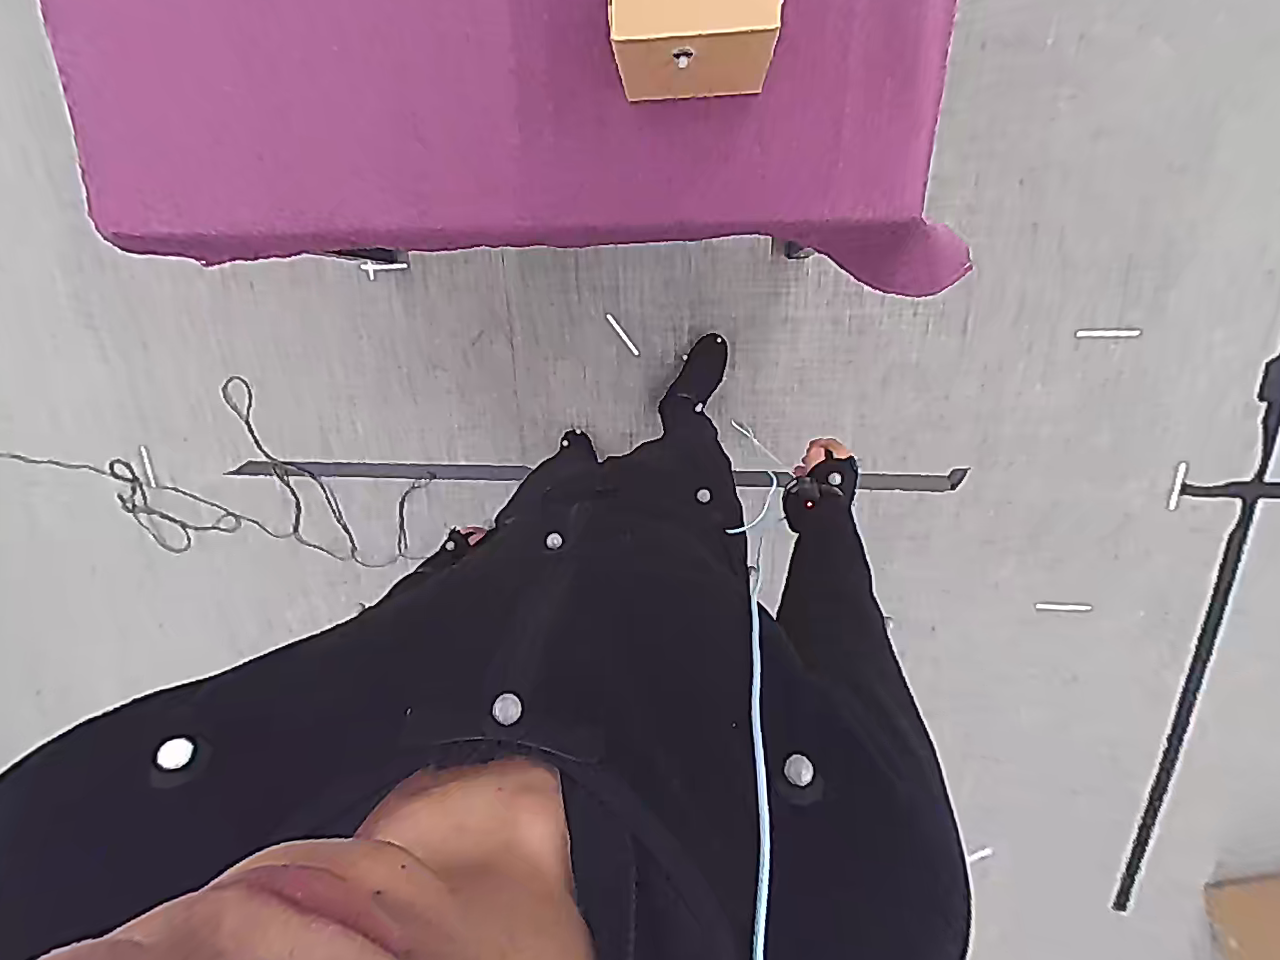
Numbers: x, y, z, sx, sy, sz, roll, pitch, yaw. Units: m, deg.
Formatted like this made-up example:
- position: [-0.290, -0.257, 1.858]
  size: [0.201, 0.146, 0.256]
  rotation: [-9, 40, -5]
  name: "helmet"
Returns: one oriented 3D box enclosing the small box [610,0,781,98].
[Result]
- position: [0.062, -0.557, 0.610]
  size: [0.179, 0.176, 0.168]
  rotation: [0, 107, 5]
  name: "small box"
